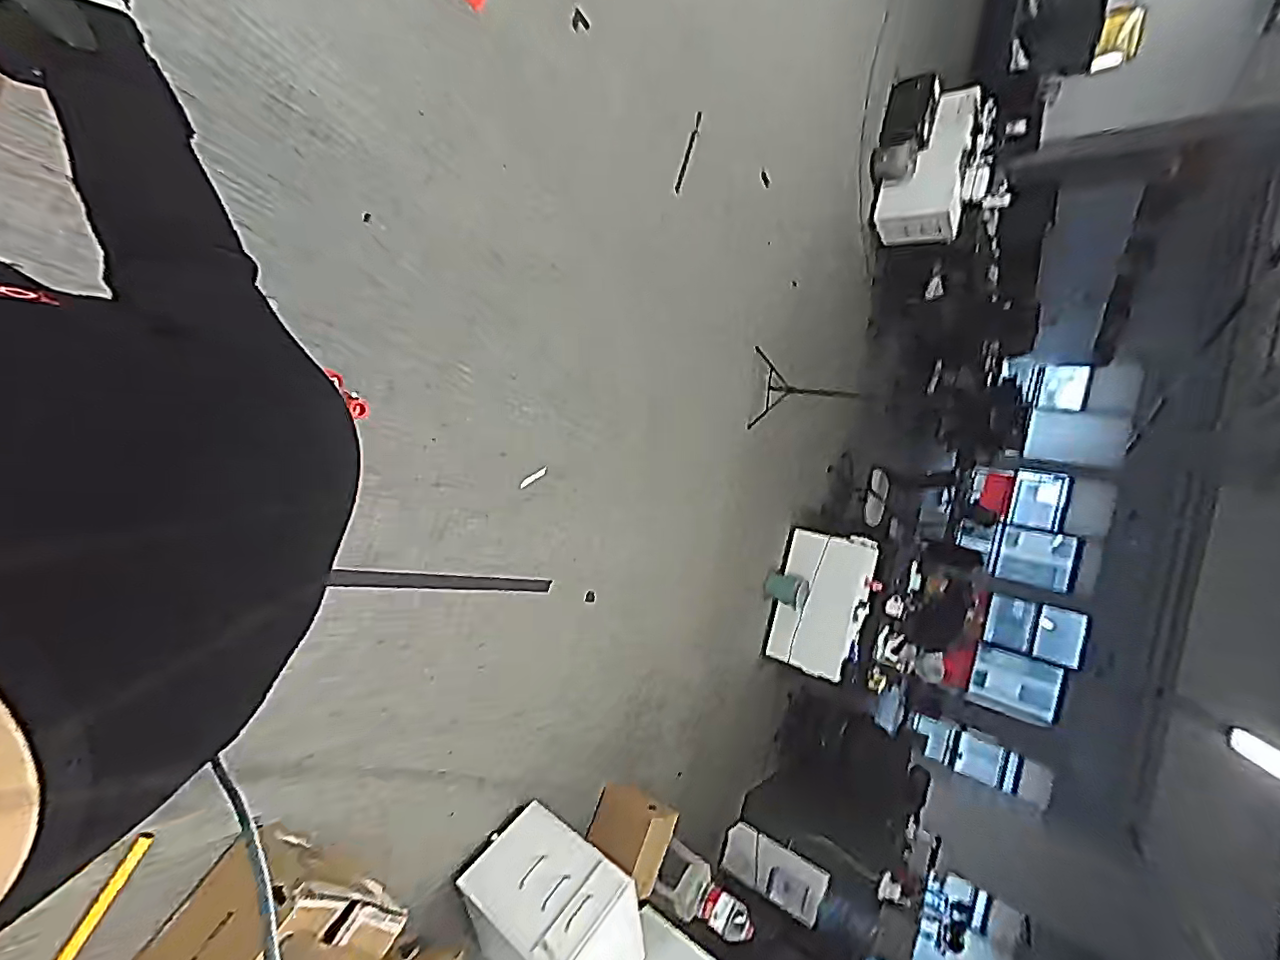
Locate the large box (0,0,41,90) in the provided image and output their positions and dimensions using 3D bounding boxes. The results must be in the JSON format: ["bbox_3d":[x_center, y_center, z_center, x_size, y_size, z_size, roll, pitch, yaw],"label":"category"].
[{"bbox_3d":[-0.633,-0.379,0.231,0.408,0.320,0.320,-33,130,-42],"label":"large box"}]

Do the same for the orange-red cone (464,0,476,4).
[{"bbox_3d":[-0.366,-1.419,1.361,0.198,0.360,0.199,15,87,-55],"label":"orange-red cone"}]
